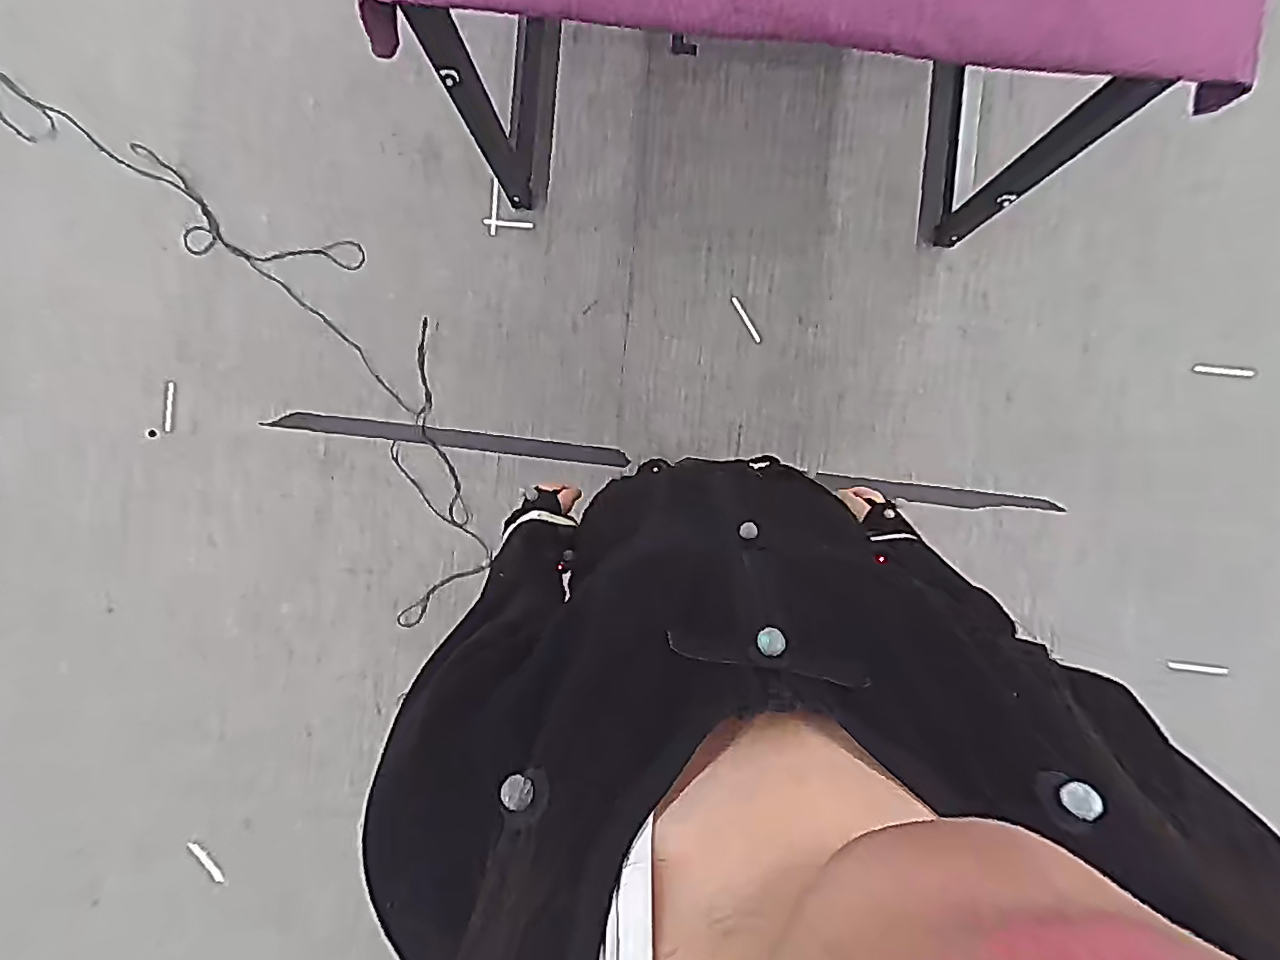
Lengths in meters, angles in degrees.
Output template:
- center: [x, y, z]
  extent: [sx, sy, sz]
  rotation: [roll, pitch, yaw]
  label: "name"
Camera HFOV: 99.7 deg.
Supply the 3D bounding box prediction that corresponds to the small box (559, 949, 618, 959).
- center: [-0.141, 1.400, 1.432]
  extent: [0.168, 0.176, 0.179]
  rotation: [-3, 92, 1]
  label: "small box"
